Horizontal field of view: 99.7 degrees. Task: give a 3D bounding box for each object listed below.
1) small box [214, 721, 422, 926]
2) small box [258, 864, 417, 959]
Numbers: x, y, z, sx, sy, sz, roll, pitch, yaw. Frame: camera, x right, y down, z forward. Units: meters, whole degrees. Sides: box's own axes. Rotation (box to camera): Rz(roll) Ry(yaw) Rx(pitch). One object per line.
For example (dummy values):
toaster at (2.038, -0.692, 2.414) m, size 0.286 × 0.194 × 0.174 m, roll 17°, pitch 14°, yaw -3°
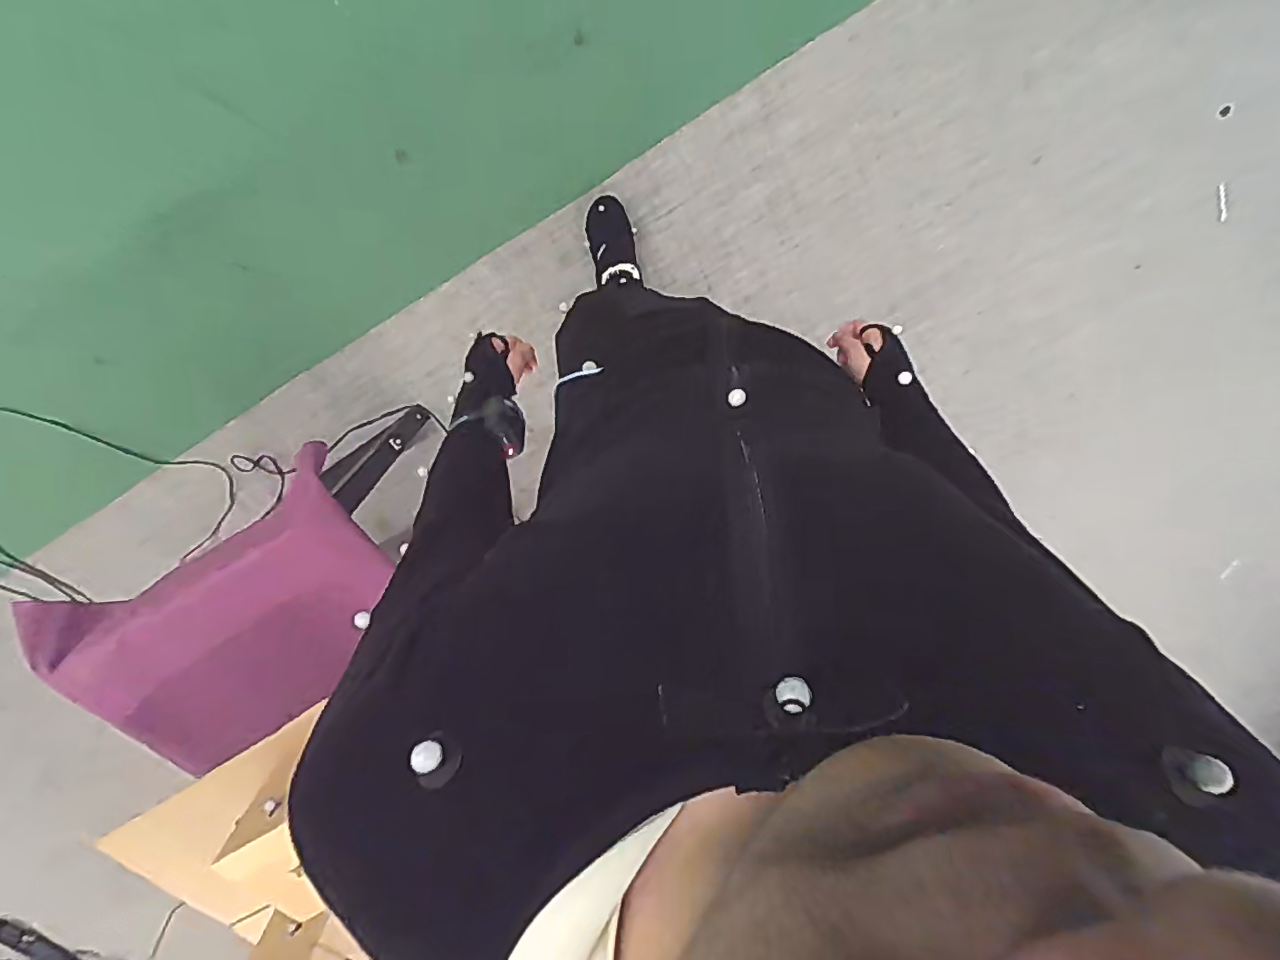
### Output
small box at (-0.467, 0.510, 0.817) m, size 0.179 × 0.176 × 0.168 m, roll -32°, pitch 111°, yaw 9°
small box at (-0.507, 0.767, 0.918) m, size 0.179 × 0.176 × 0.168 m, roll -32°, pitch 110°, yaw 10°
